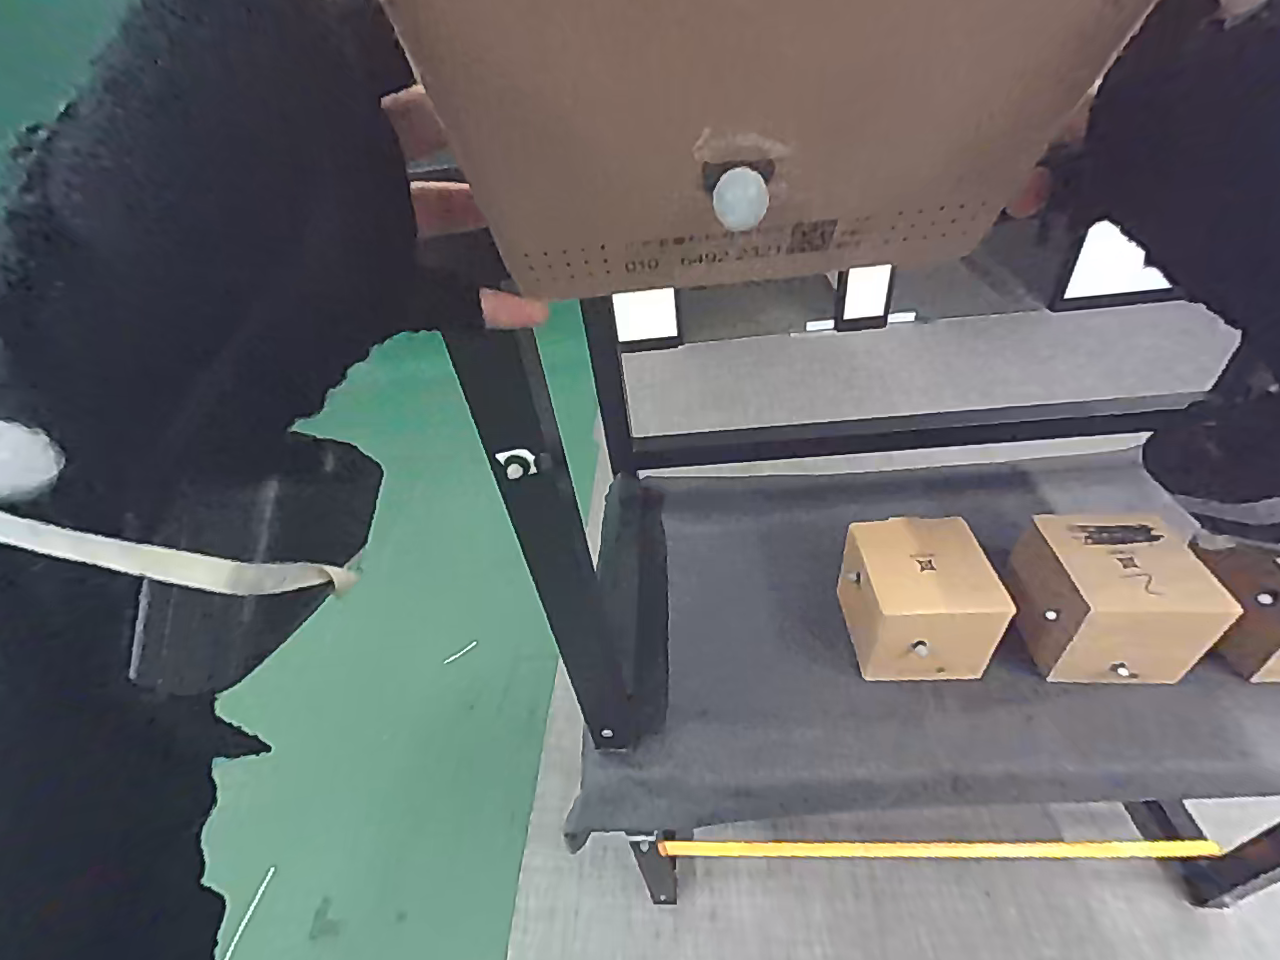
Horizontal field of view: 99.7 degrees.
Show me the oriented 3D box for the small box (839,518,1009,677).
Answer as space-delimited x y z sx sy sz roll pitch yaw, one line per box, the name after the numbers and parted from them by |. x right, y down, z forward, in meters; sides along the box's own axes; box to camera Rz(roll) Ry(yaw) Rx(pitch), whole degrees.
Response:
0.409 0.180 0.813 0.168 0.176 0.179 -4 39 6 | small box

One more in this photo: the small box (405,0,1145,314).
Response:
0.024 -0.174 0.152 0.168 0.176 0.179 -5 74 4 | small box

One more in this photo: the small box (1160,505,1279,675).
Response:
0.897 0.153 0.746 0.168 0.176 0.179 -4 38 5 | small box
